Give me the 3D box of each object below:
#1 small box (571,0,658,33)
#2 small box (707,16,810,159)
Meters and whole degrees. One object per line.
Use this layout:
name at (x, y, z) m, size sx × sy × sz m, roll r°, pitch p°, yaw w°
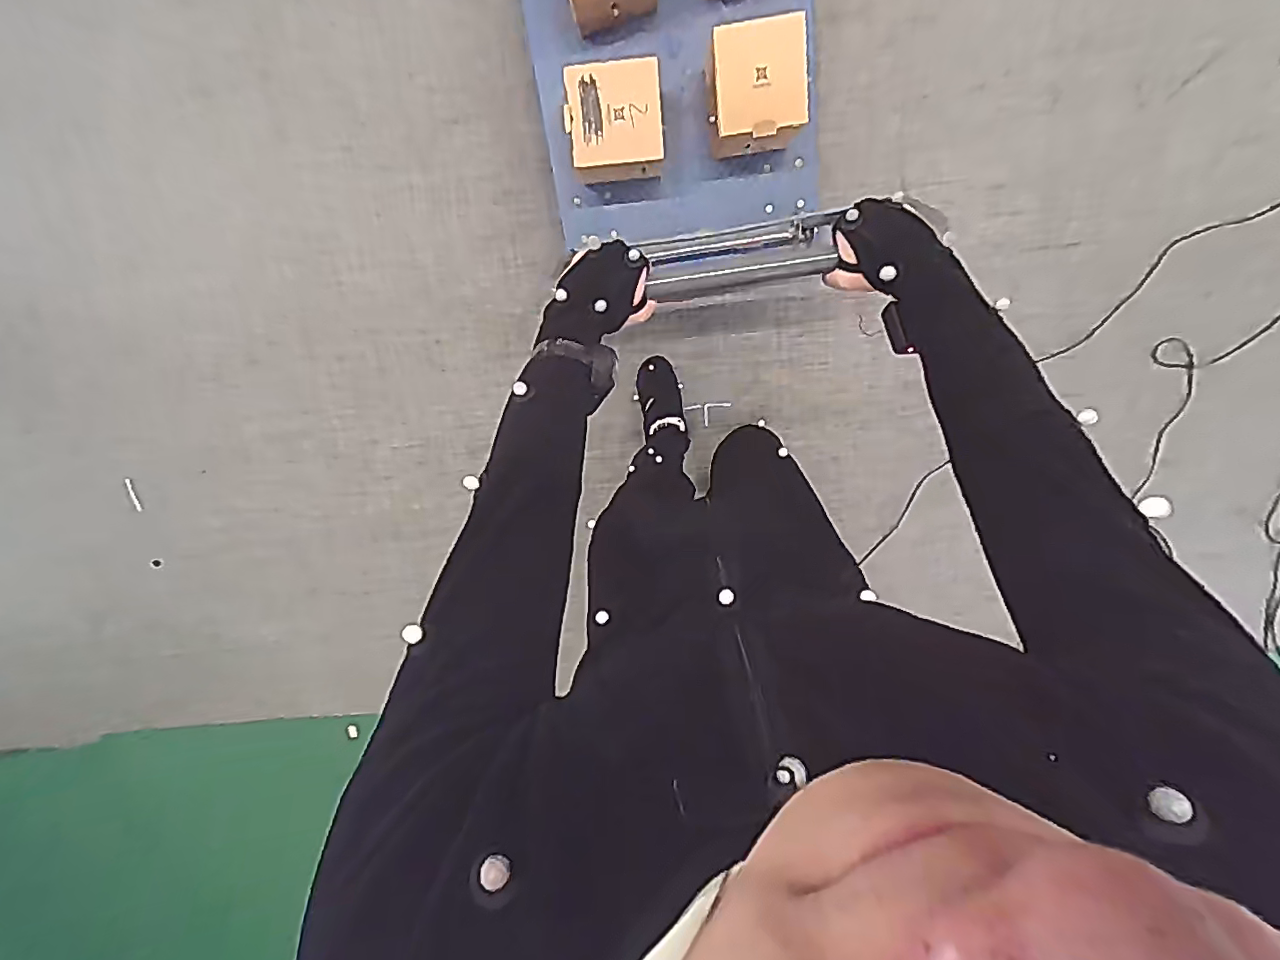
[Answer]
small box at (-0.063, -0.967, 0.991) m, size 0.168 × 0.176 × 0.179 m, roll -15°, pitch 109°, yaw 5°
small box at (0.228, -0.757, 1.062) m, size 0.168 × 0.176 × 0.179 m, roll -7°, pitch 110°, yaw 4°
